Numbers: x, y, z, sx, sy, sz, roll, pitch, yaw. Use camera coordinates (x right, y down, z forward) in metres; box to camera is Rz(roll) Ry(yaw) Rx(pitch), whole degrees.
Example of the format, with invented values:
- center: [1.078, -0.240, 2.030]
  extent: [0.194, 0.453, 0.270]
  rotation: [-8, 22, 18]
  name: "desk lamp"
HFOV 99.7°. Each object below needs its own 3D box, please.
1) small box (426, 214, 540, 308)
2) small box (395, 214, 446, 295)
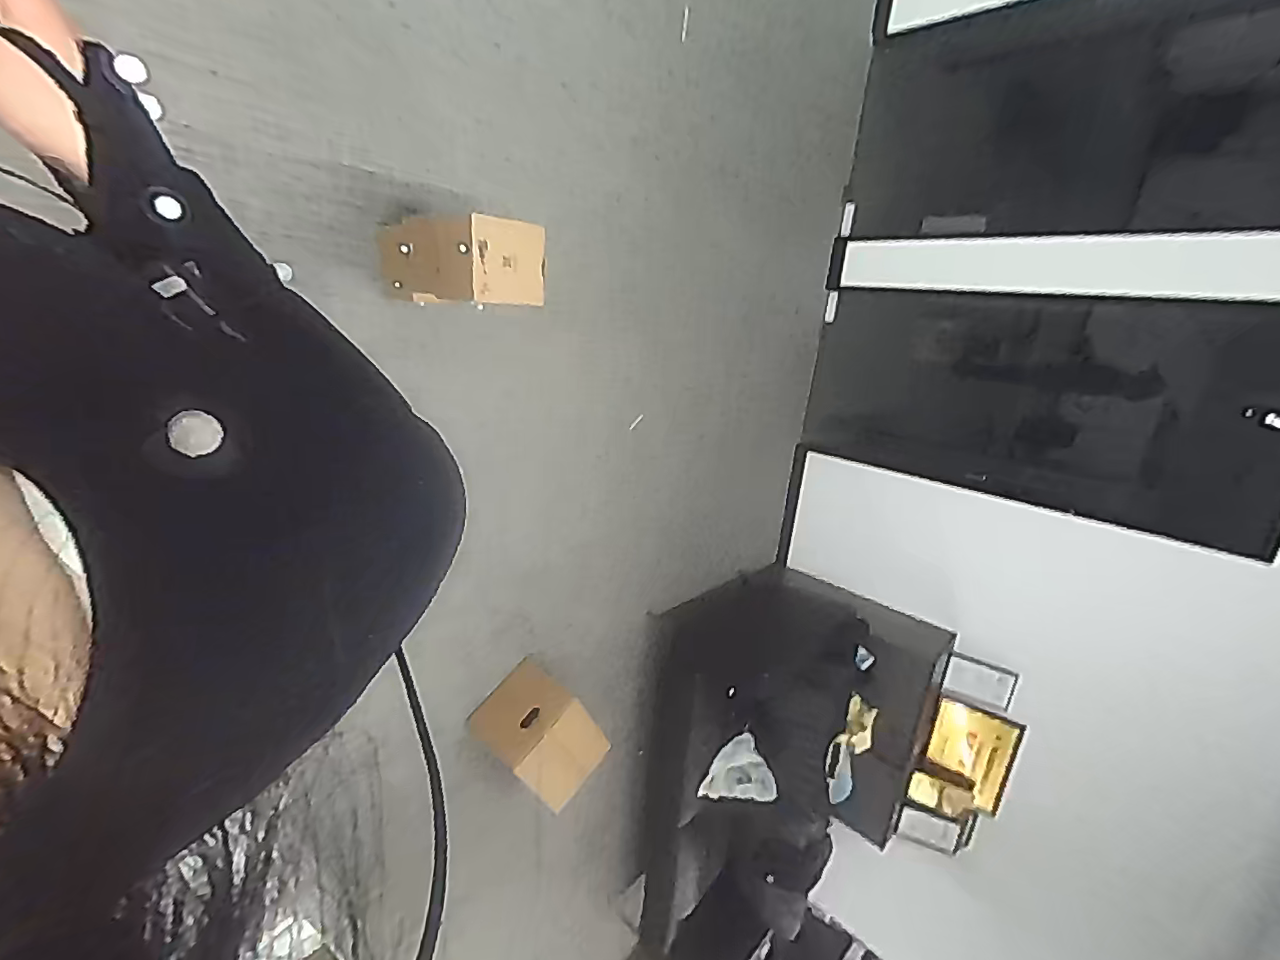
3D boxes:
- center: [-0.339, -0.469, 1.170]
  extent: [0.179, 0.176, 0.168]
  rotation: [-15, 116, -46]
  name: "small box"
- center: [-0.453, -0.521, 1.276]
  extent: [0.179, 0.176, 0.168]
  rotation: [-14, 115, -44]
  name: "small box"
